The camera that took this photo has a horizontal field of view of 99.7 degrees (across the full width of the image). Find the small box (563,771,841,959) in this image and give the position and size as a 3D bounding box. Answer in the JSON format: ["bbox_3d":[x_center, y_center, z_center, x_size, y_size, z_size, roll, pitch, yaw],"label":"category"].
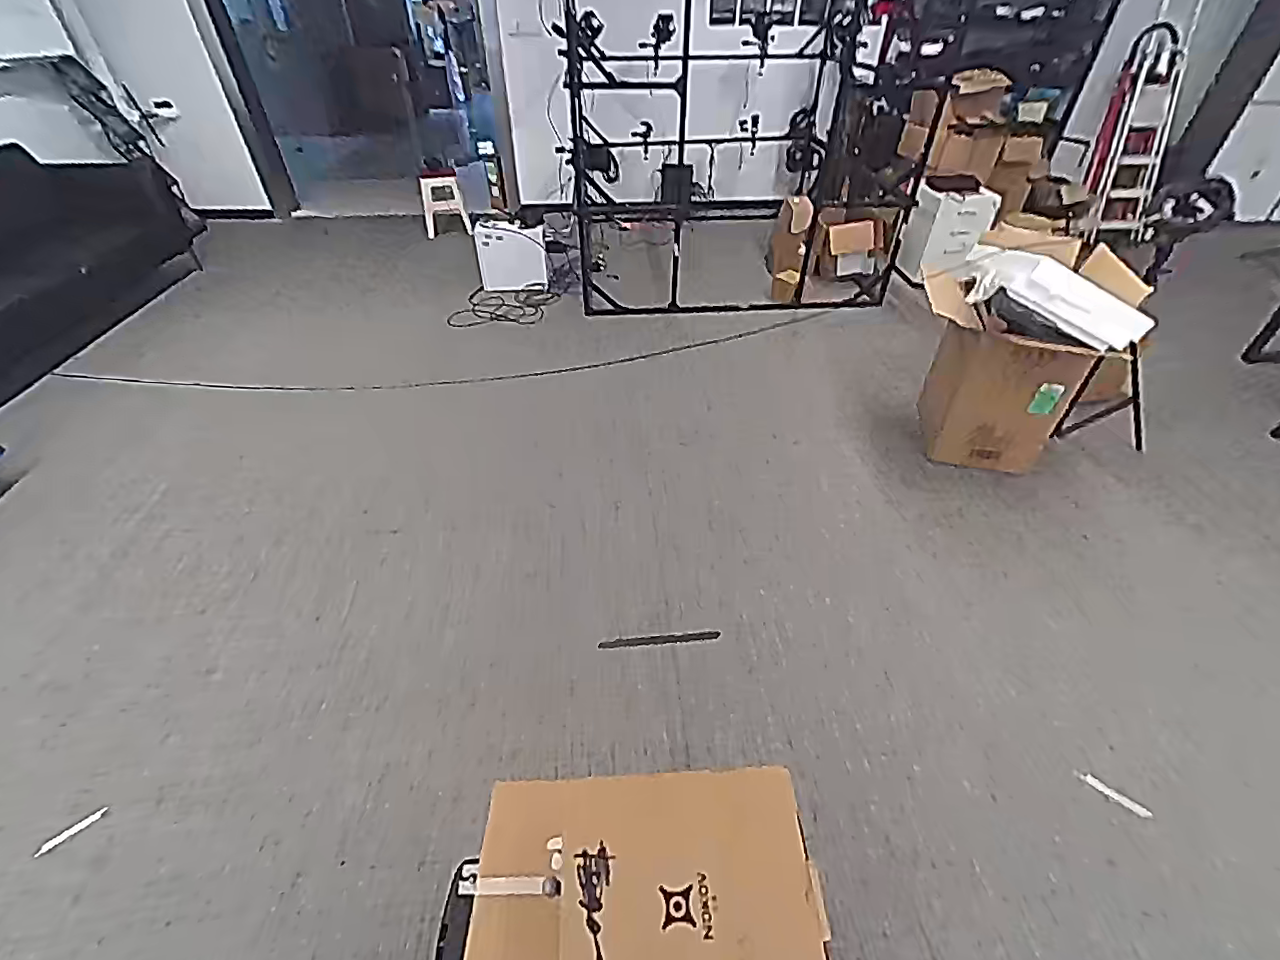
[{"bbox_3d":[0.033,0.334,0.412,0.179,0.176,0.168,0,48,-4],"label":"small box"}]

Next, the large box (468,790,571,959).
[{"bbox_3d":[-0.048,0.753,0.929,0.408,0.320,0.320,-1,40,0],"label":"large box"}]
